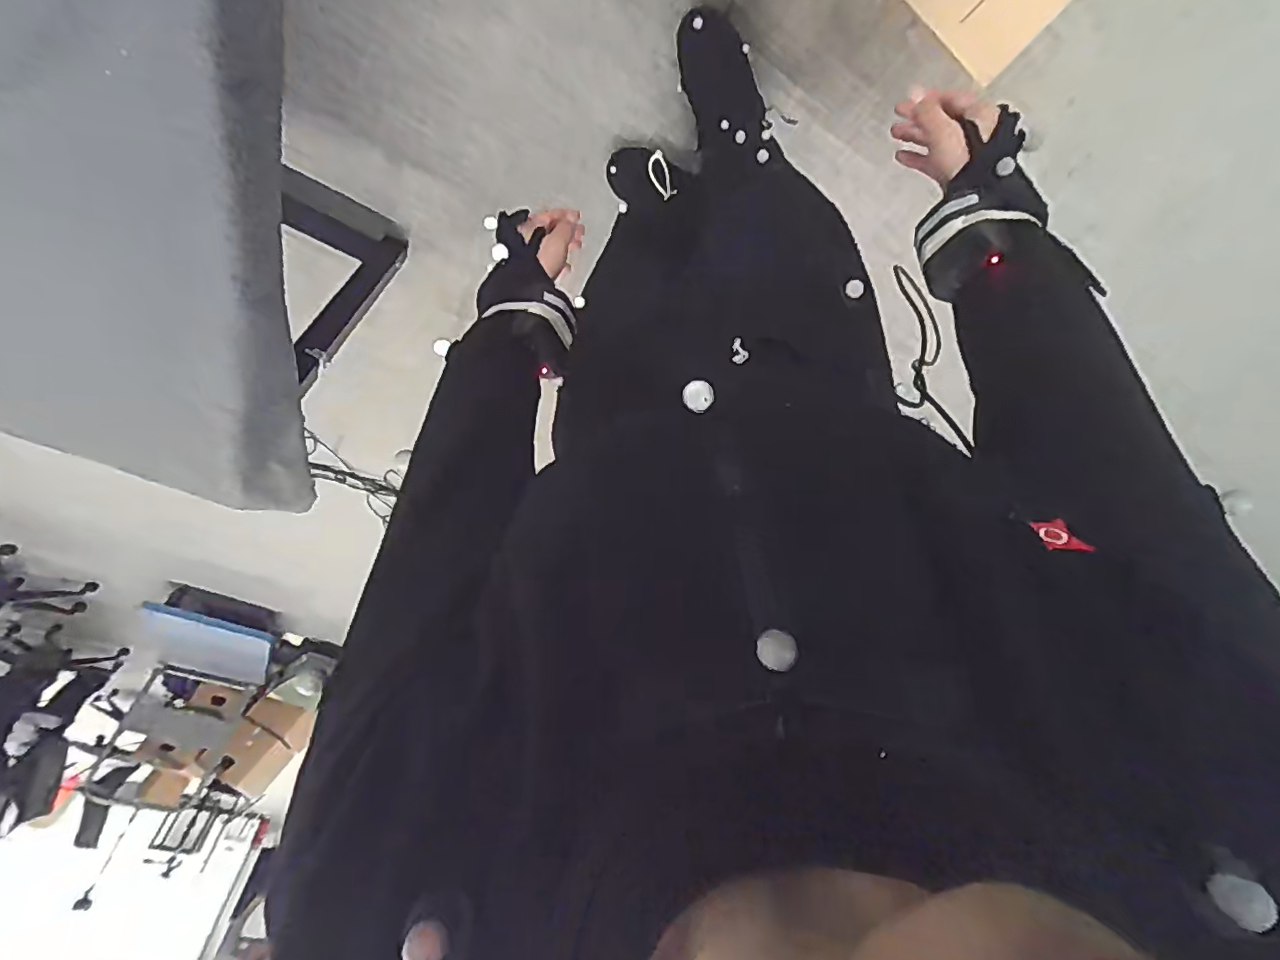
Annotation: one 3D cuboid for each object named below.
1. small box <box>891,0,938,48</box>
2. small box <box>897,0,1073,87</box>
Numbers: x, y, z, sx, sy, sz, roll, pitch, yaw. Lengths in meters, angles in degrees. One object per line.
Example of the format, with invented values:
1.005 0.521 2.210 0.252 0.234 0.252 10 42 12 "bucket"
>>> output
0.437 -0.764 0.759 0.168 0.176 0.179 27 137 -21 "small box"
0.428 -0.637 0.655 0.168 0.176 0.179 27 136 -21 "small box"
